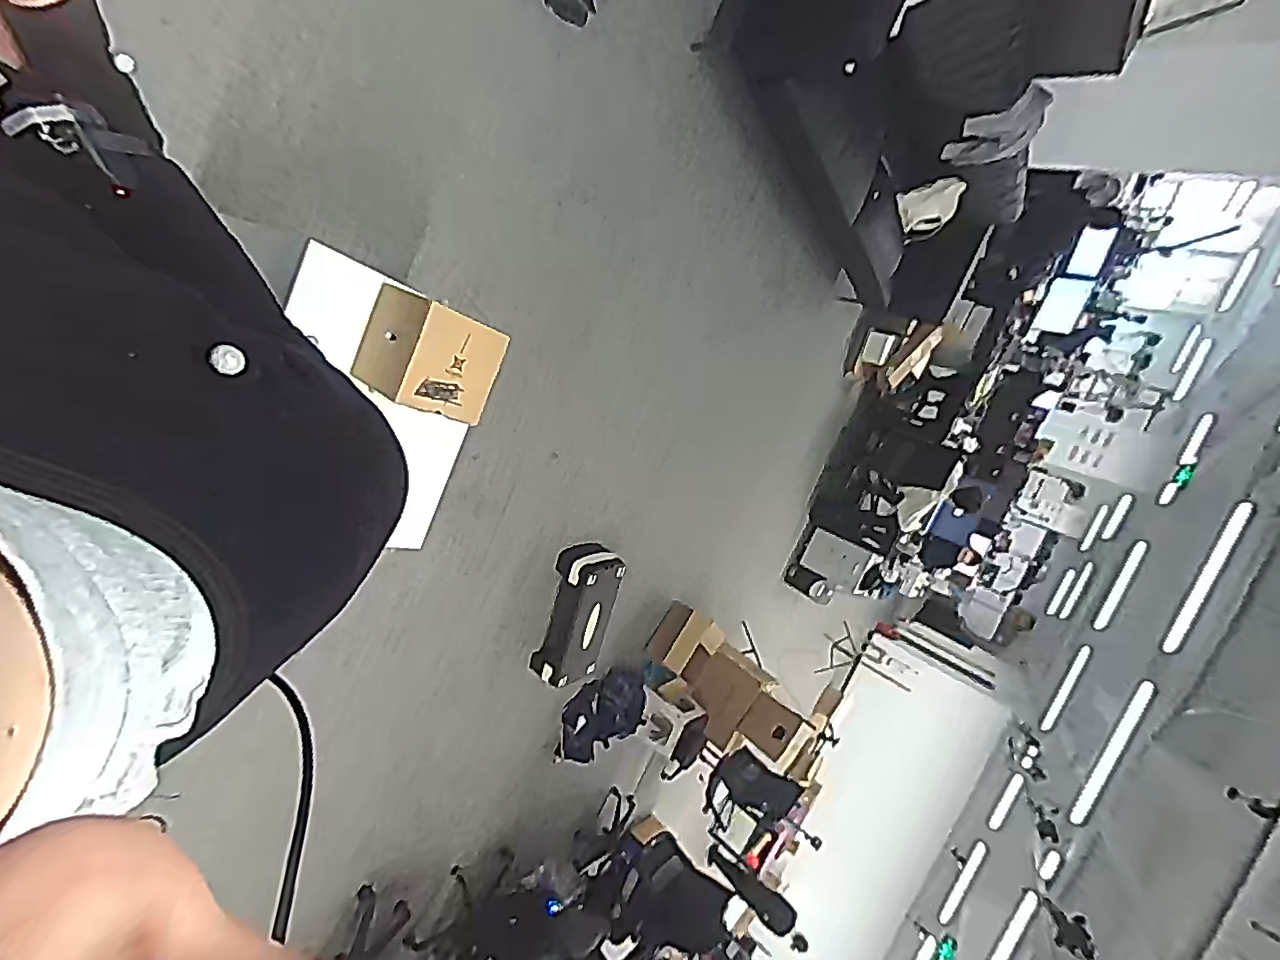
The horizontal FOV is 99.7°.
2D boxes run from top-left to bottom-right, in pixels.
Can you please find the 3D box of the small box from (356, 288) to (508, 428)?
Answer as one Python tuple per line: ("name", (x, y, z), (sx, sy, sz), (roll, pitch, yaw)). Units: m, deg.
("small box", (-0.373, -0.215, 0.961), (0.168, 0.176, 0.179), (15, 100, -56))
